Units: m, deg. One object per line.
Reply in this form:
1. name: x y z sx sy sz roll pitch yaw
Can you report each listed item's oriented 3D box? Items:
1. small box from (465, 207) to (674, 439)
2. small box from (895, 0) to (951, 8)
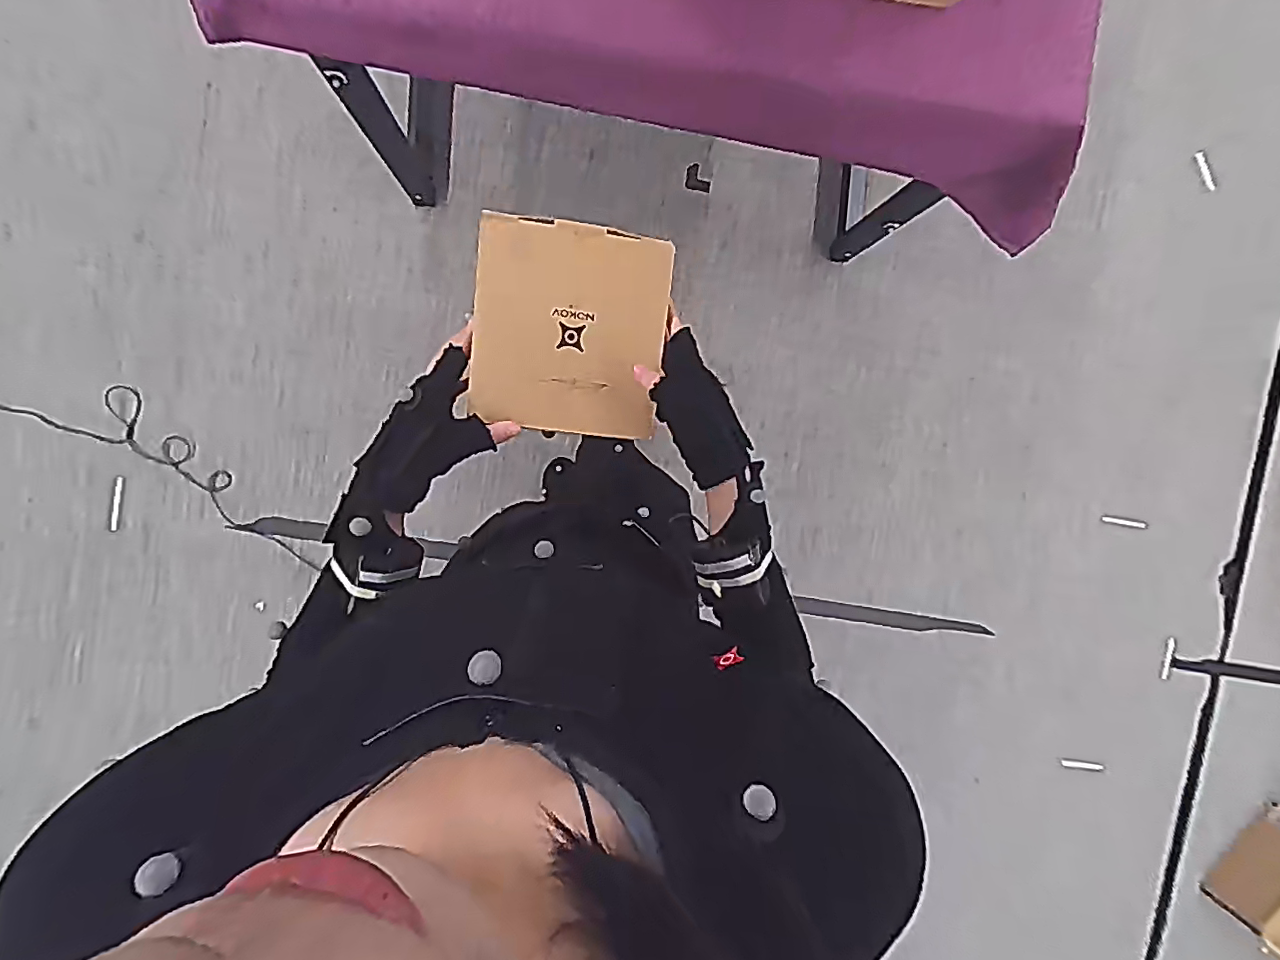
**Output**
1. small box: -0.072 -0.141 0.539 0.168 0.176 0.179 5 99 -9
2. small box: 0.384 -0.755 0.687 0.179 0.176 0.168 3 94 -7
